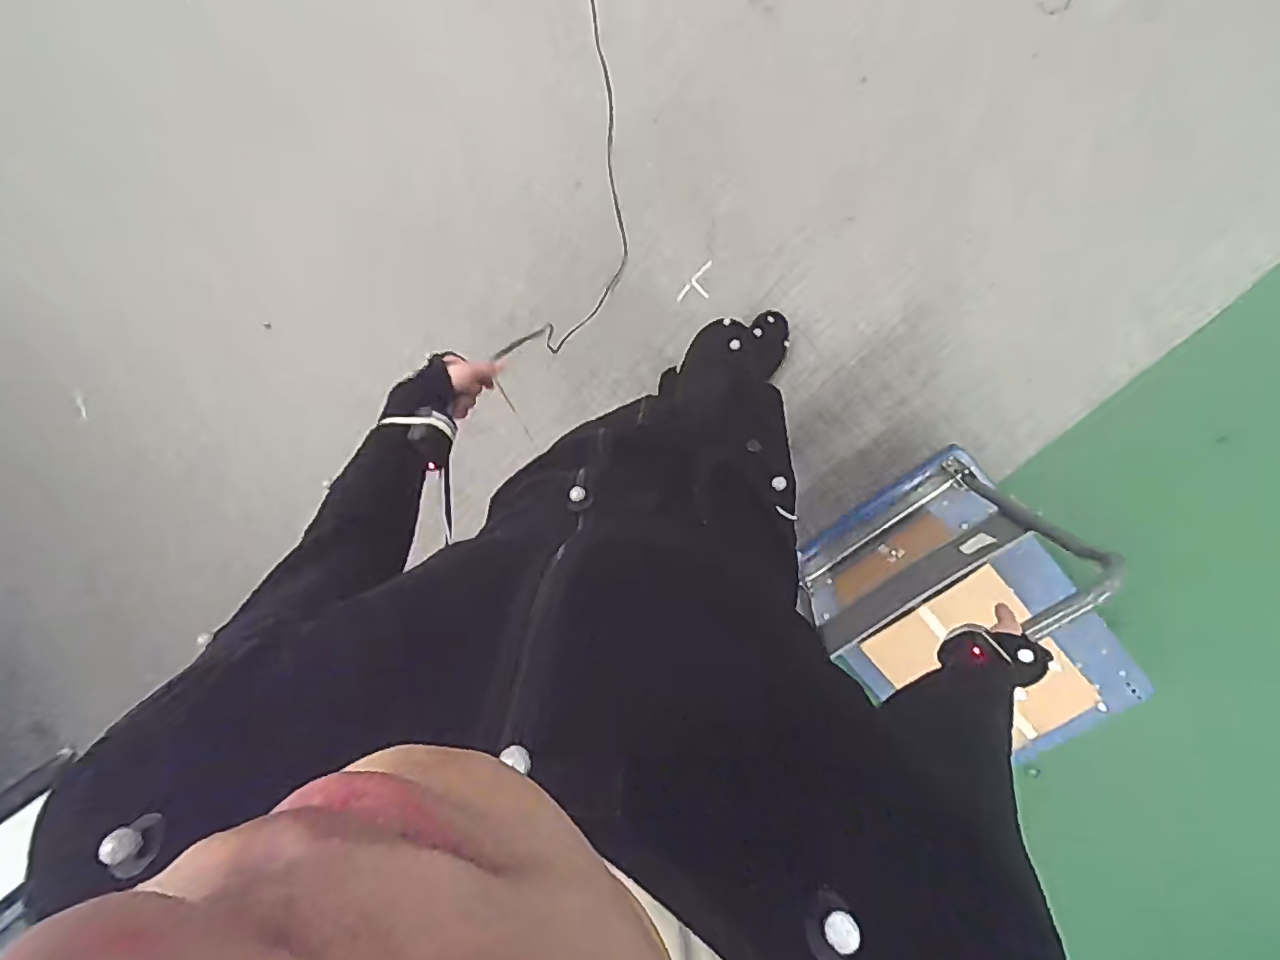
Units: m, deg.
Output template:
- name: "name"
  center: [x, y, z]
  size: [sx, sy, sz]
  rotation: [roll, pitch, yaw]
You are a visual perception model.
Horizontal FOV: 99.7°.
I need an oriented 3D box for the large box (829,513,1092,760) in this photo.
- name: "large box"
  center: [0.726, 0.355, 1.295]
  size: [0.320, 0.320, 0.408]
  rotation: [-40, 97, 17]
